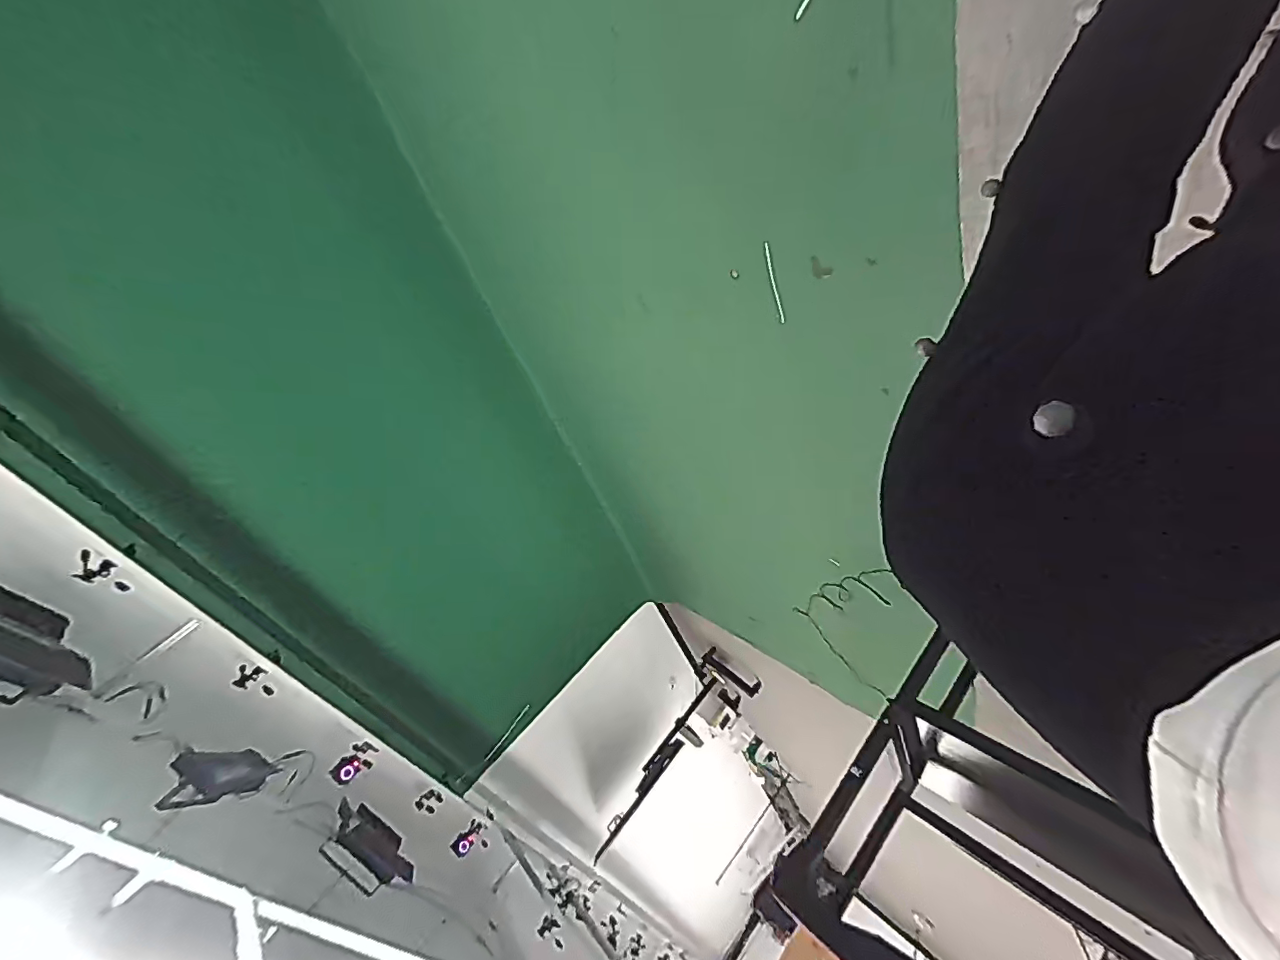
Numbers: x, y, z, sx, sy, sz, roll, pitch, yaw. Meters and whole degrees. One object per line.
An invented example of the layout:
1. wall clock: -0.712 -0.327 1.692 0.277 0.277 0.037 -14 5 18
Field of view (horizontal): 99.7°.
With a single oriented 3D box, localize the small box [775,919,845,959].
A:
1. small box: 0.522 1.470 1.611 0.168 0.176 0.179 20 144 47
